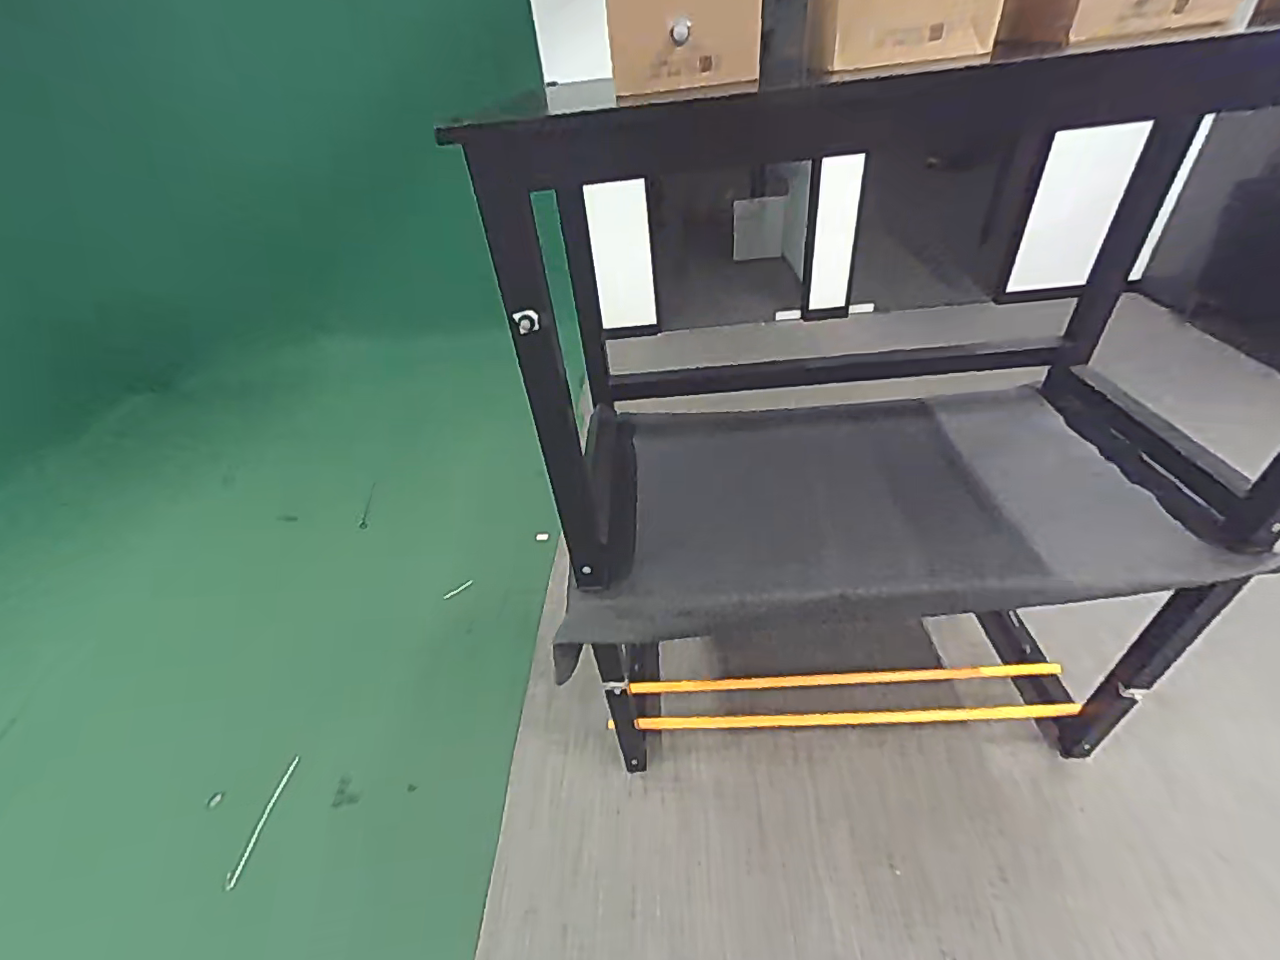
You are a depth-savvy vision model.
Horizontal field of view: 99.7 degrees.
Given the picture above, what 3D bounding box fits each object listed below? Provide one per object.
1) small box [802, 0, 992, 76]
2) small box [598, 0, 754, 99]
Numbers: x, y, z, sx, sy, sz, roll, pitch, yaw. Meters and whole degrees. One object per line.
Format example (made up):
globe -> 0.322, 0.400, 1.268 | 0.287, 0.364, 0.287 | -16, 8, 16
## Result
small box -> 0.278, -0.558, 0.592 | 0.168, 0.176, 0.179 | -3, 38, 6
small box -> 0.035, -0.556, 0.629 | 0.168, 0.176, 0.179 | -6, 39, 2
